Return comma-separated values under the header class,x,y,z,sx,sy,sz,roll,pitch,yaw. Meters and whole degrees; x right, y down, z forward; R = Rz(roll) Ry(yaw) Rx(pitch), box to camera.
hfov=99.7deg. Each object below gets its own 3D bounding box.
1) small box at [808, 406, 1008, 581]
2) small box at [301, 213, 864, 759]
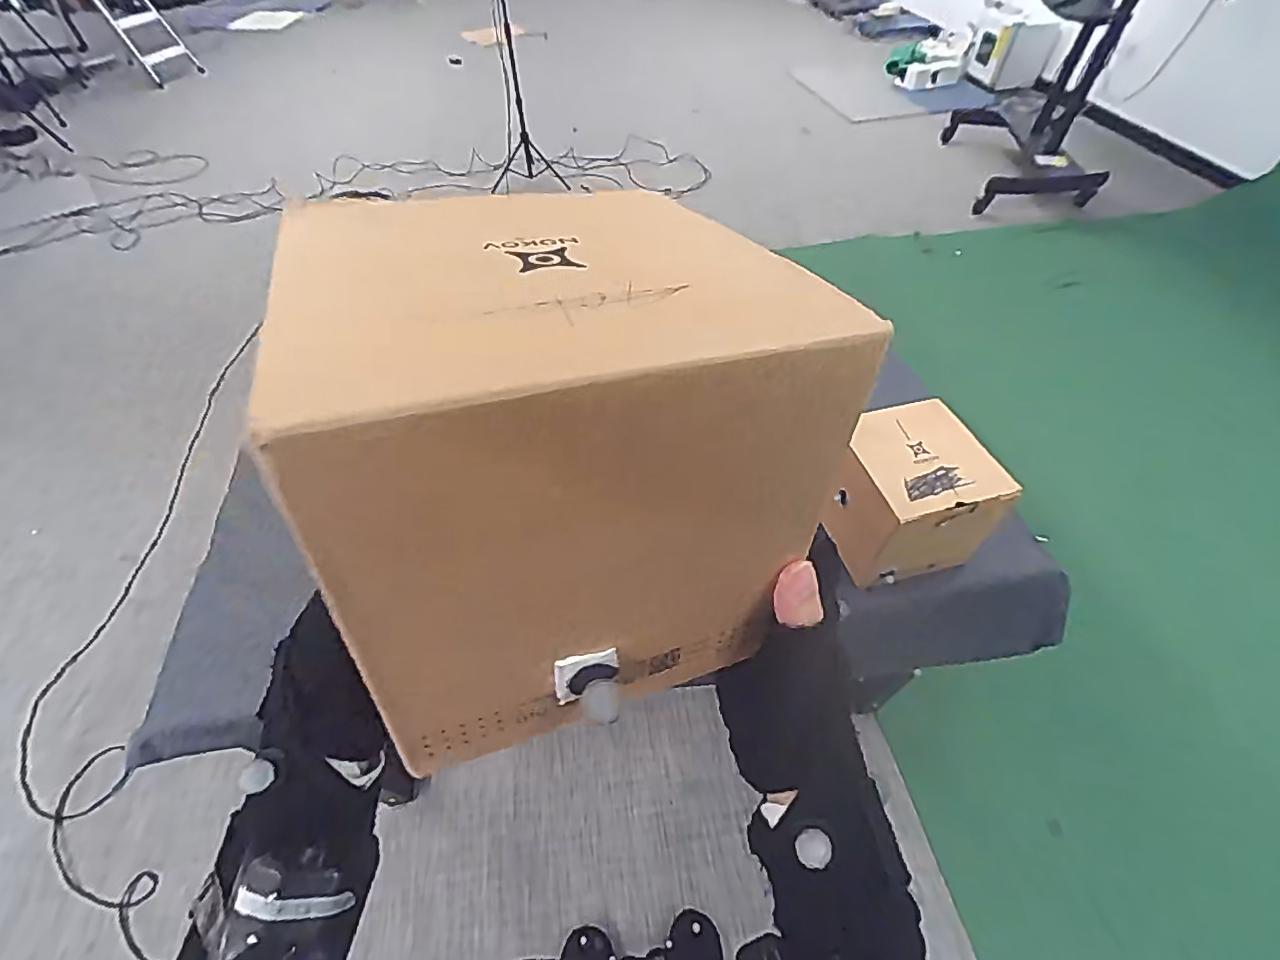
class,x,y,z,sx,sy,sz,roll,pitch,yaw
small box,0.356,0.026,0.762,0.168,0.176,0.179,-12,50,-8
small box,-0.040,-0.012,0.255,0.168,0.176,0.179,-14,43,-21
